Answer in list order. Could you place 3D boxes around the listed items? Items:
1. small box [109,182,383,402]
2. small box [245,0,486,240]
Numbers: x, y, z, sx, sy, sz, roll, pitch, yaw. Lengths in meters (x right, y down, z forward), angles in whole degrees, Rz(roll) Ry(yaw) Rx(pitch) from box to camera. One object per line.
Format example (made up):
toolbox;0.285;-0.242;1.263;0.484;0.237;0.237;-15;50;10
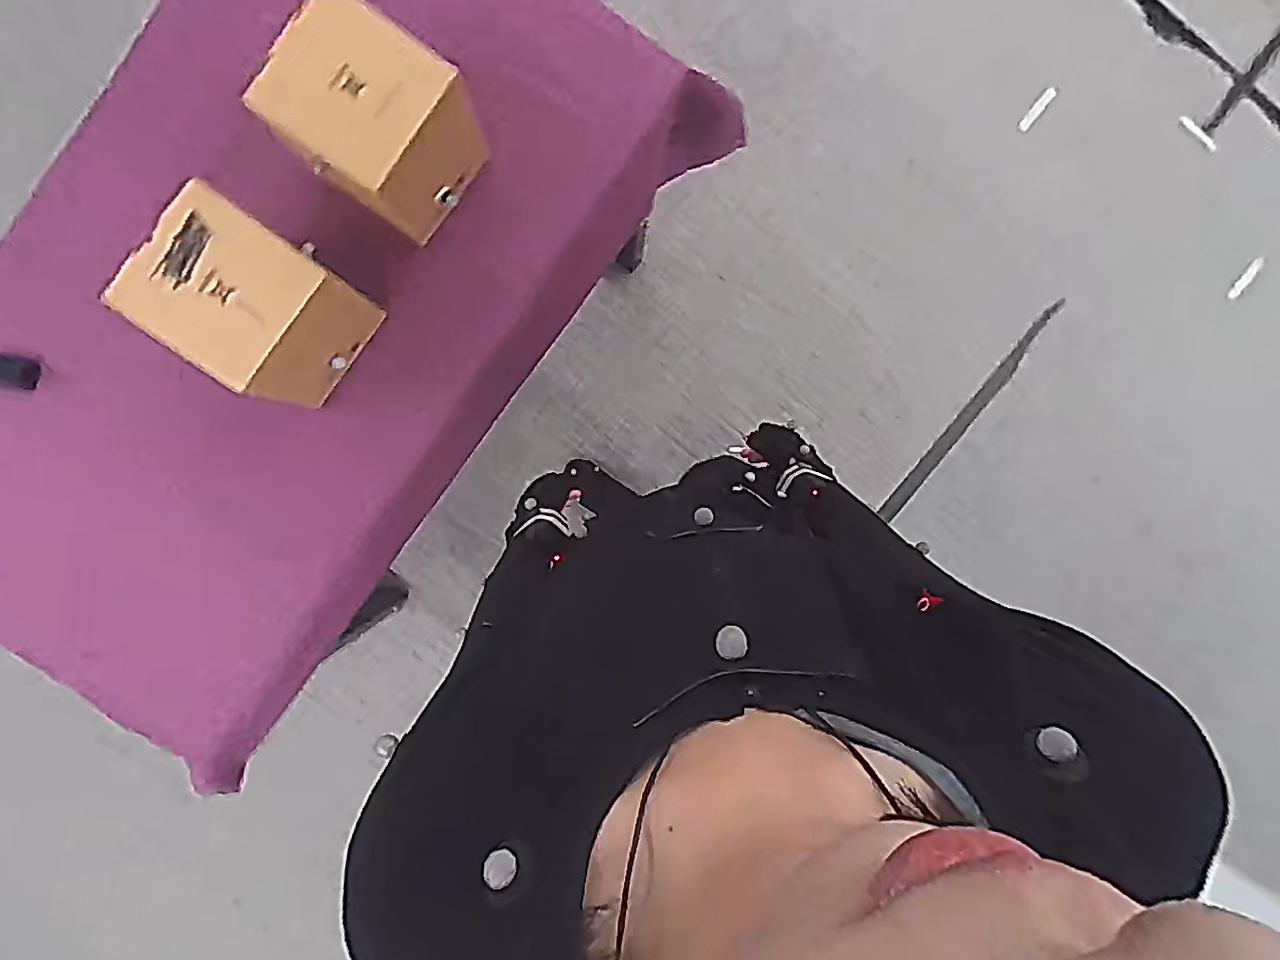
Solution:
small box;-0.465;-0.212;0.671;0.179;0.176;0.168;36;89;-4
small box;-0.322;-0.437;0.676;0.179;0.176;0.168;34;91;-4
